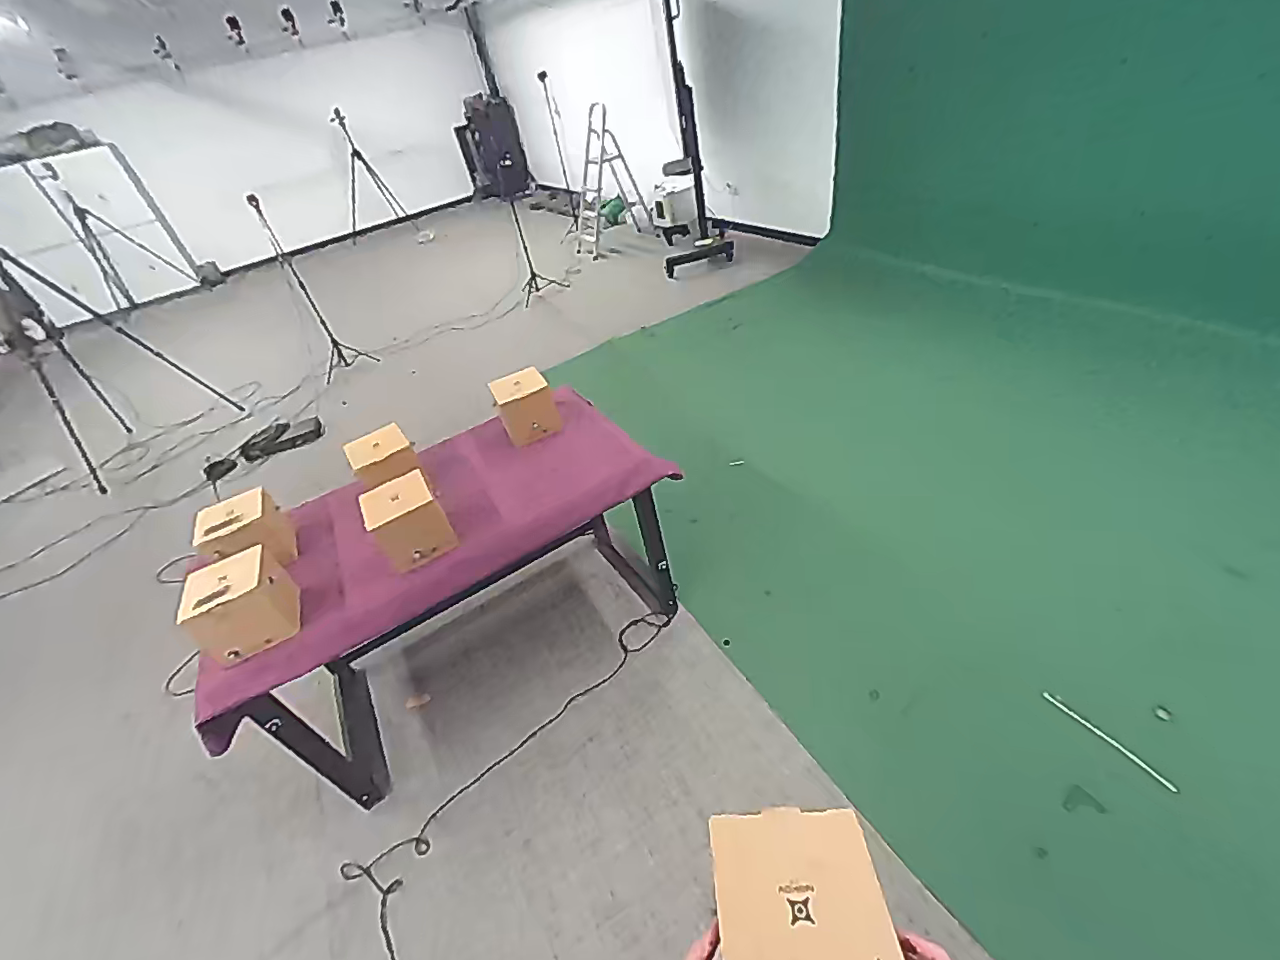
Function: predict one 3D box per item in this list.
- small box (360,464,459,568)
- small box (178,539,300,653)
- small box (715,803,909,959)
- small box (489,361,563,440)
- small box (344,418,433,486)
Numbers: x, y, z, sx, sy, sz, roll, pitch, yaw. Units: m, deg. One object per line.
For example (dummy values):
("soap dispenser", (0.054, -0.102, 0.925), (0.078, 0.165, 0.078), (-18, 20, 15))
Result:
("small box", (-0.596, 0.093, 1.401), (0.168, 0.176, 0.179), (-28, 41, -17))
("small box", (-0.925, 0.277, 1.266), (0.168, 0.176, 0.179), (-26, 39, -16))
("small box", (0.171, 0.480, 0.576), (0.168, 0.176, 0.179), (-5, 31, 4))
("small box", (-0.370, -0.256, 1.758), (0.168, 0.176, 0.179), (-25, 41, -12))
("small box", (-0.754, -0.055, 1.626), (0.168, 0.176, 0.179), (-31, 43, -21))
